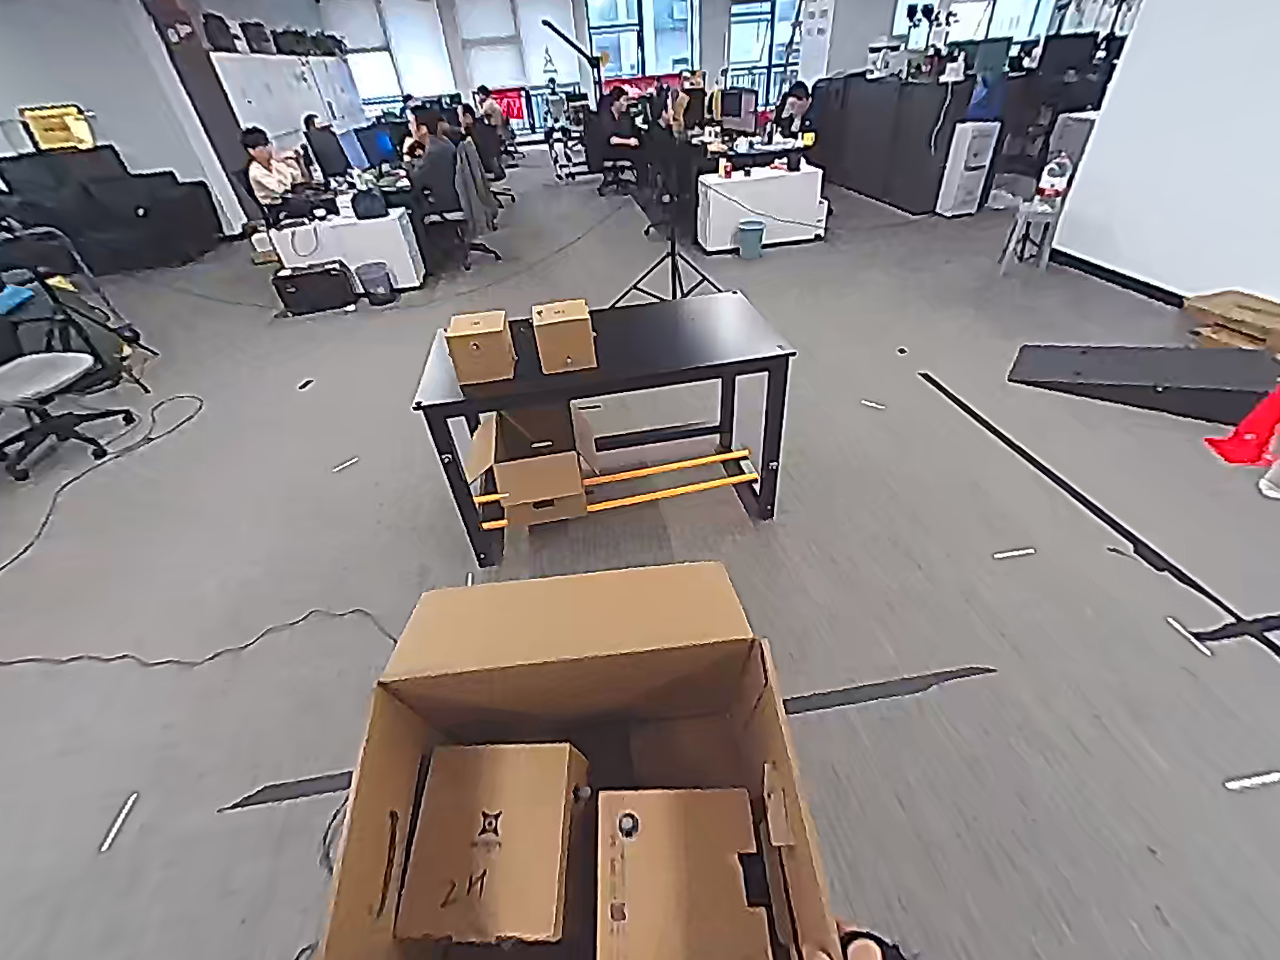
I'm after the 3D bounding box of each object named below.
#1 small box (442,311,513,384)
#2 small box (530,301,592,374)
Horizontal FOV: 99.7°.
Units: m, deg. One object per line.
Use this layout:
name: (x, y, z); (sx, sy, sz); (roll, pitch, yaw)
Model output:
small box: (-0.513, -0.421, 1.730); (0.179, 0.176, 0.168); (-8, 39, -5)
small box: (-0.253, -0.461, 1.751); (0.179, 0.176, 0.168); (-10, 38, -7)
